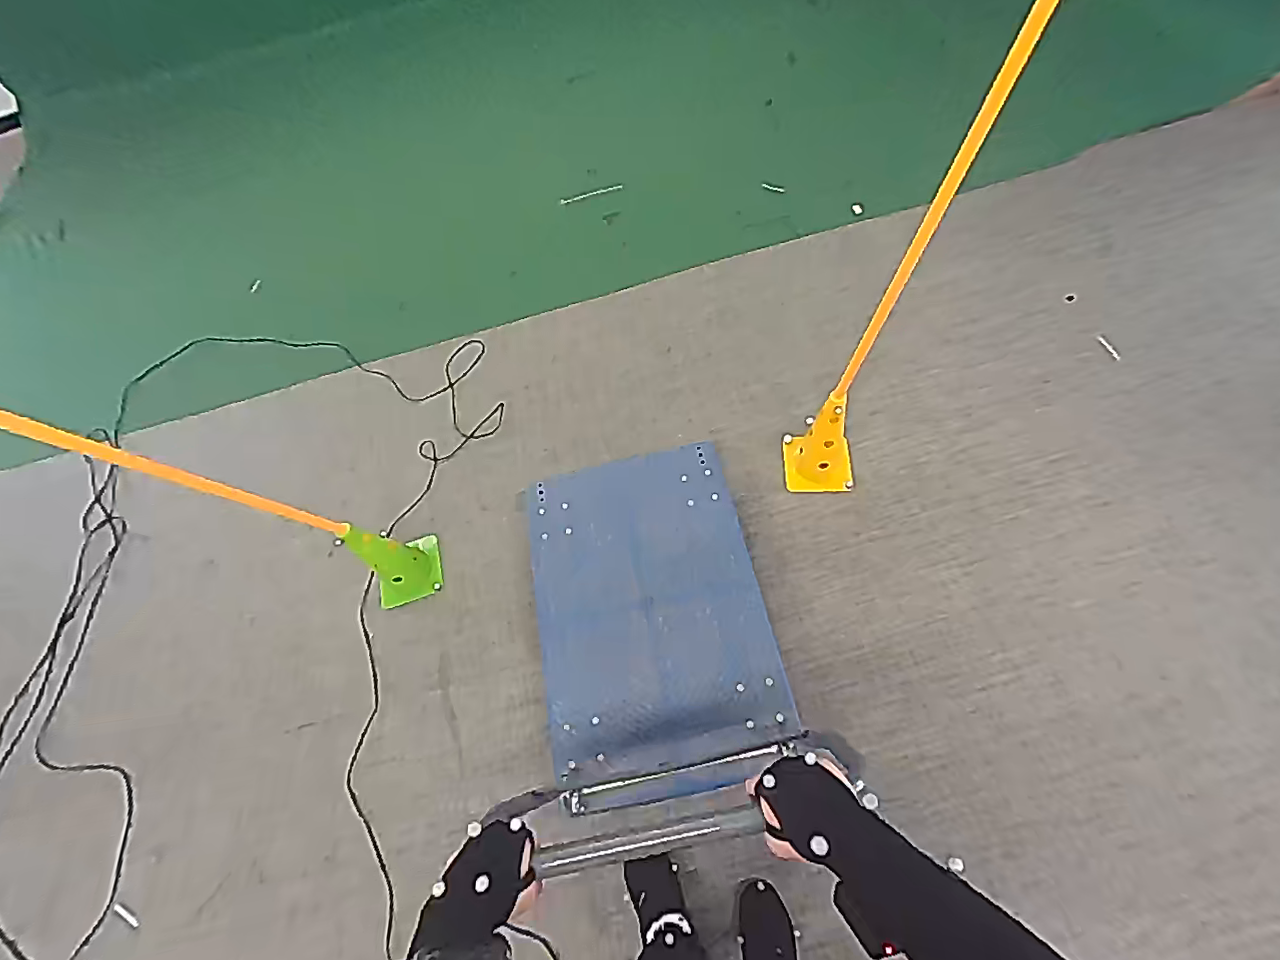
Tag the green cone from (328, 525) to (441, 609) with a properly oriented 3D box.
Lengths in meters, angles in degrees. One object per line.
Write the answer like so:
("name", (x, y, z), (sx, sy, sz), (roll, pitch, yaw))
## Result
("green cone", (-0.762, 0.211, 1.566), (0.202, 0.368, 0.200), (-20, 61, 0))
